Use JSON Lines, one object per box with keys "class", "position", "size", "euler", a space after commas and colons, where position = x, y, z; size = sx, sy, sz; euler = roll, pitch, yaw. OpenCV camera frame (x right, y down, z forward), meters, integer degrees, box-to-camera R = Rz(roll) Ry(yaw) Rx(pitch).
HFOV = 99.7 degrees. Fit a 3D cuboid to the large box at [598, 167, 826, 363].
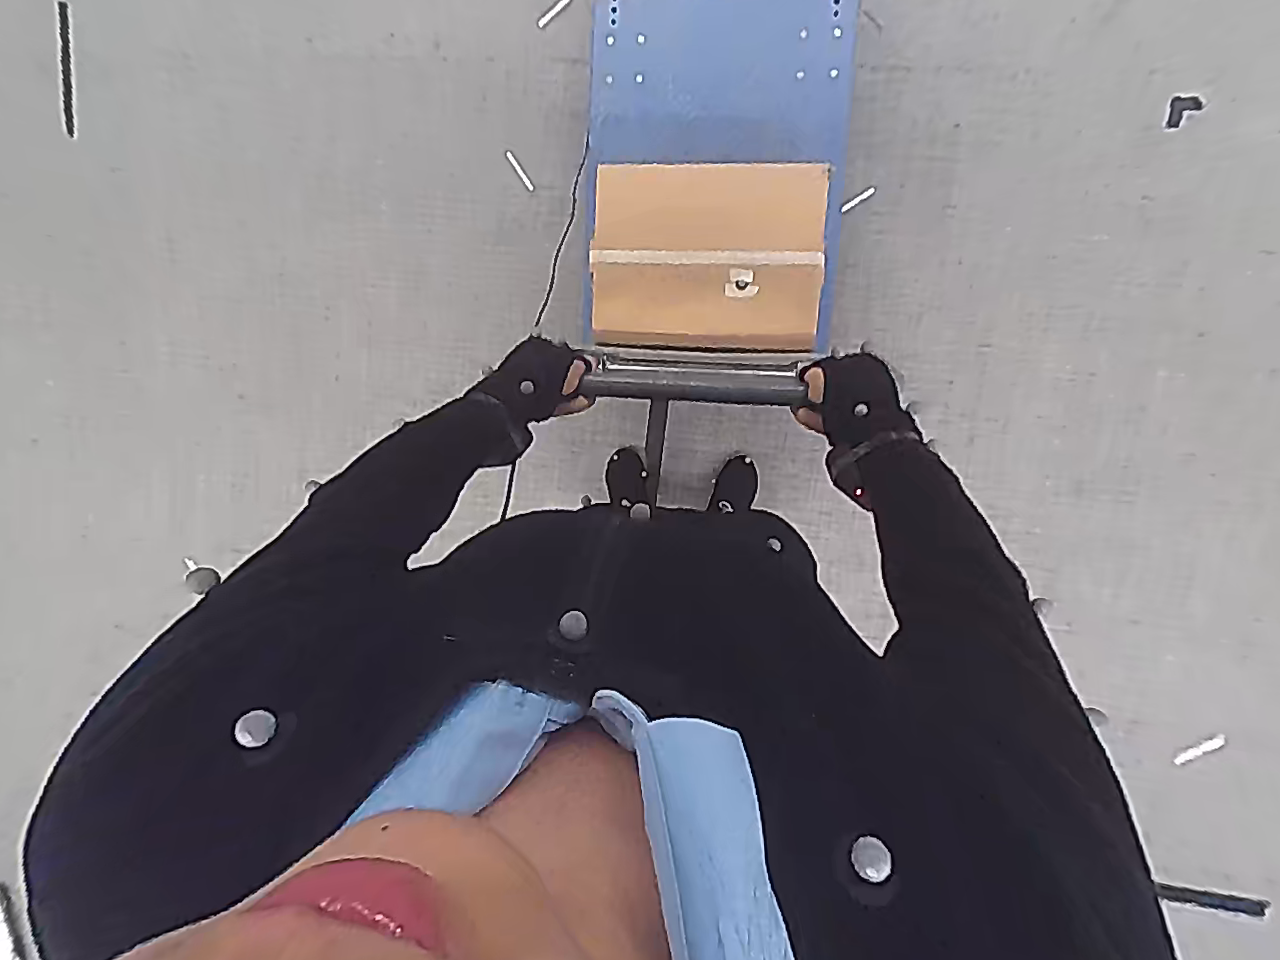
{"class": "large box", "position": [0.136, -0.417, 1.123], "size": [0.408, 0.320, 0.320], "euler": [3, 98, 6]}
